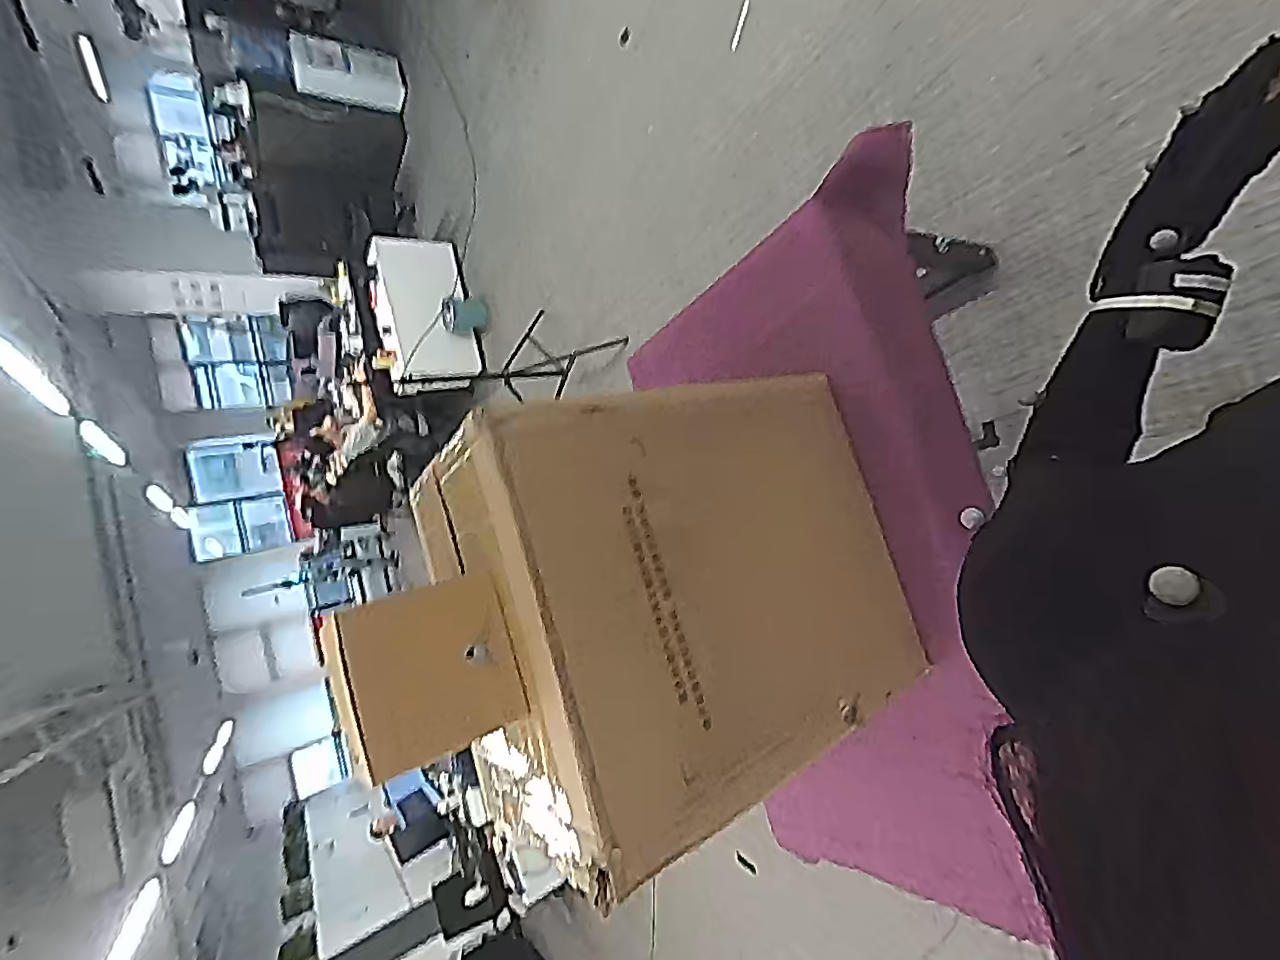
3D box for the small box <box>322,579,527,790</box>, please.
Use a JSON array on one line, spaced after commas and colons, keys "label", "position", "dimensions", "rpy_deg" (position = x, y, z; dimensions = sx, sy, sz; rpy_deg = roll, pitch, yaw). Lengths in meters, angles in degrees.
[{"label": "small box", "position": [-0.254, 0.223, 0.629], "dimensions": [0.168, 0.176, 0.179], "rpy_deg": [-32, 73, 52]}]
